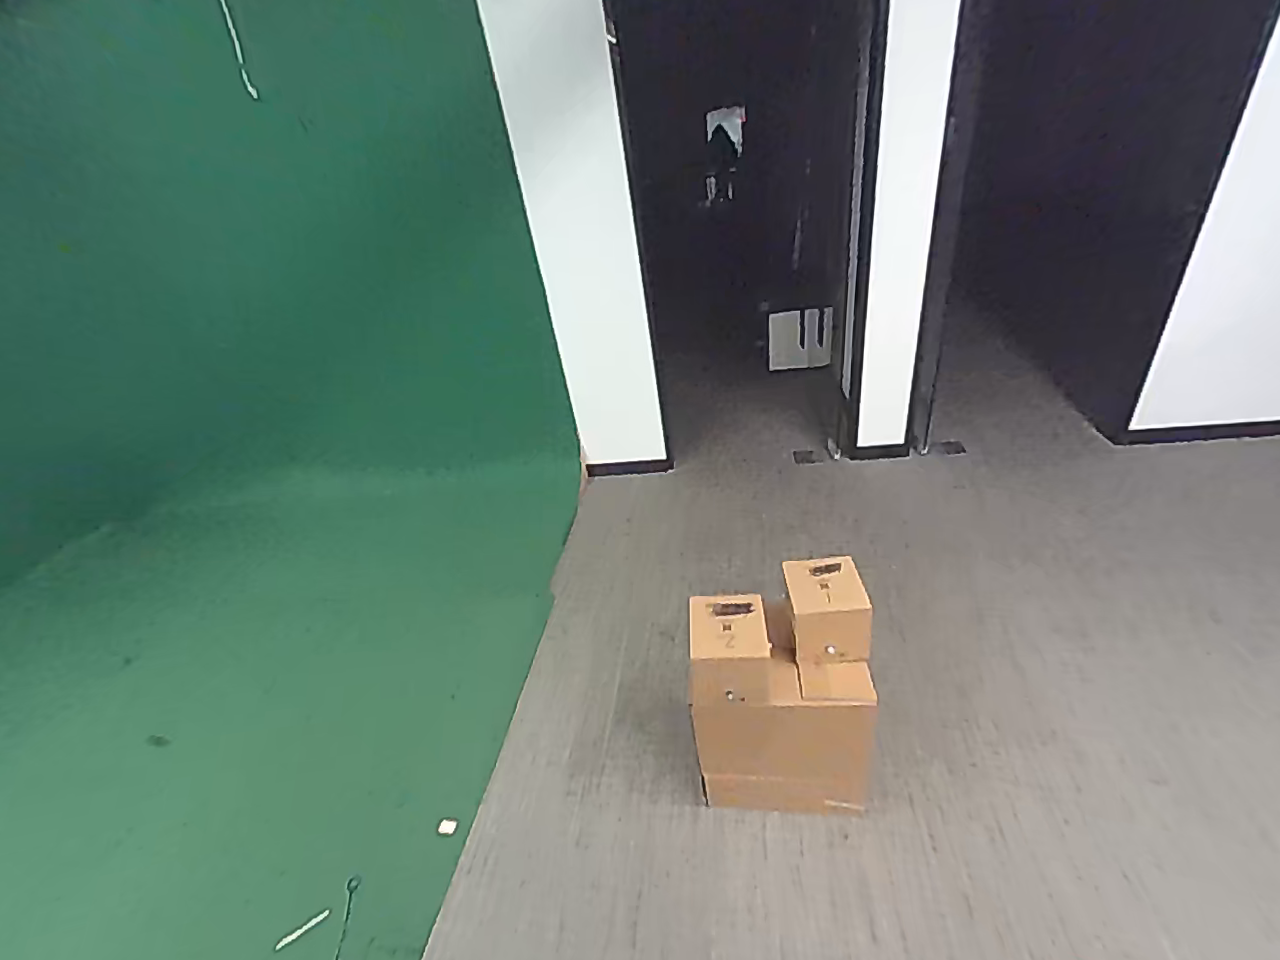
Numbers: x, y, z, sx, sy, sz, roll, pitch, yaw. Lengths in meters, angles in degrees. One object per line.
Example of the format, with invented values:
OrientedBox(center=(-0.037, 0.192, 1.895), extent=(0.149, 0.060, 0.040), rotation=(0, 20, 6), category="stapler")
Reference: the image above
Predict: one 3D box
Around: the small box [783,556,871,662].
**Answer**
OrientedBox(center=(0.437, 0.306, 1.287), extent=(0.168, 0.176, 0.179), rotation=(-7, 33, 9), category="small box")
